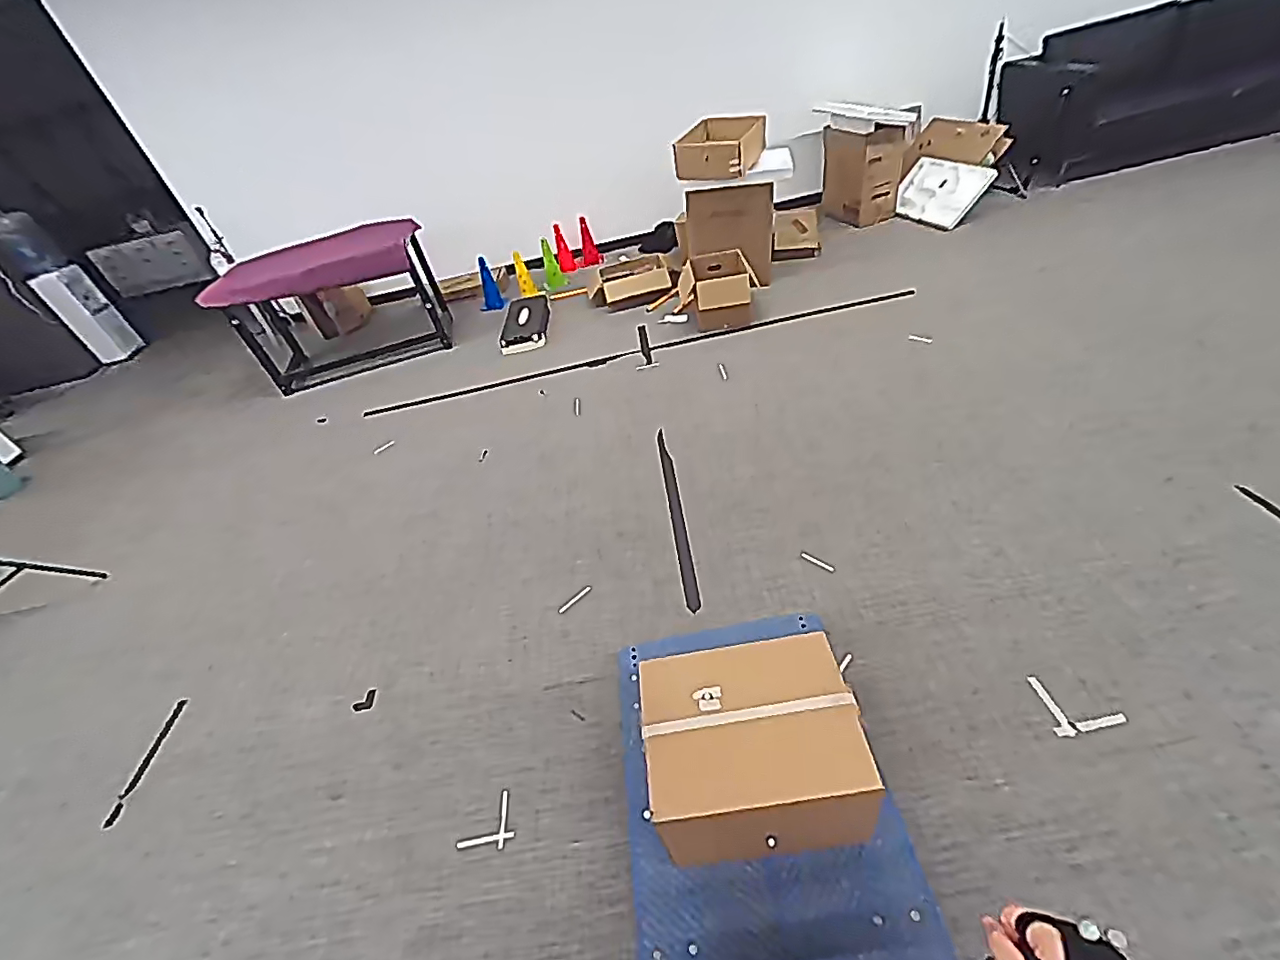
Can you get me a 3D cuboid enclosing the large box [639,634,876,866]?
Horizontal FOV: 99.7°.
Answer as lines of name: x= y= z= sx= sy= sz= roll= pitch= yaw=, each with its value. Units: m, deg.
large box: x=0.235 y=0.577 z=1.151 sx=0.408 sy=0.320 sz=0.320 roll=-12 pitch=39 yaw=4
